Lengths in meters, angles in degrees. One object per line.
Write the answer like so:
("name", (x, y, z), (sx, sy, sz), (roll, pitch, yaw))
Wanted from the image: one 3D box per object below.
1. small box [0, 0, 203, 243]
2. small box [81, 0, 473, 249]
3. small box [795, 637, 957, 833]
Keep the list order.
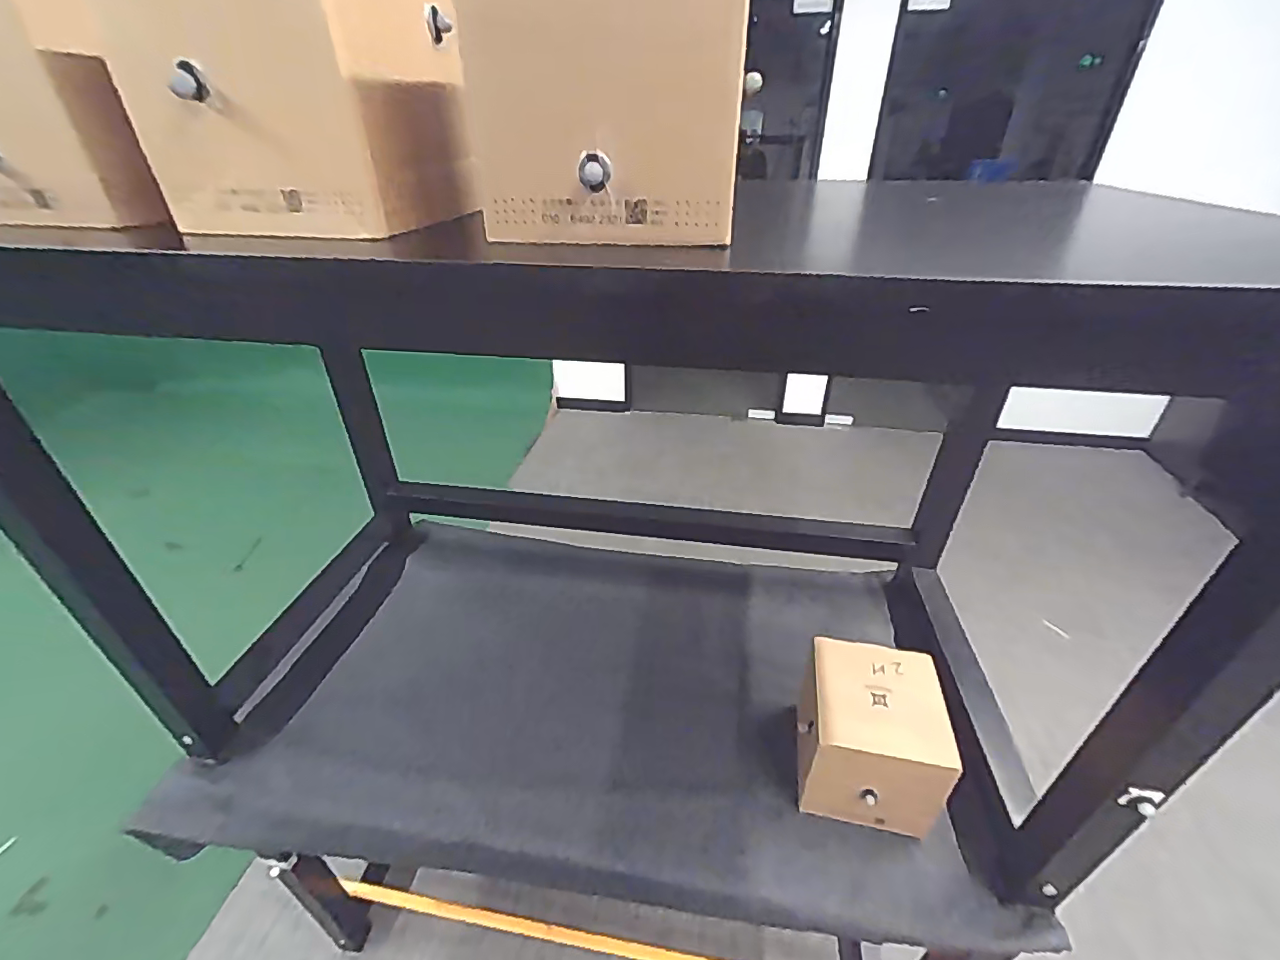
("small box", (-0.468, -0.313, 0.466), (0.168, 0.176, 0.179), (5, 34, 9))
("small box", (-0.248, -0.283, 0.423), (0.168, 0.176, 0.179), (5, 33, 9))
("small box", (0.317, 0.357, 0.762), (0.168, 0.176, 0.179), (7, 33, 11))
